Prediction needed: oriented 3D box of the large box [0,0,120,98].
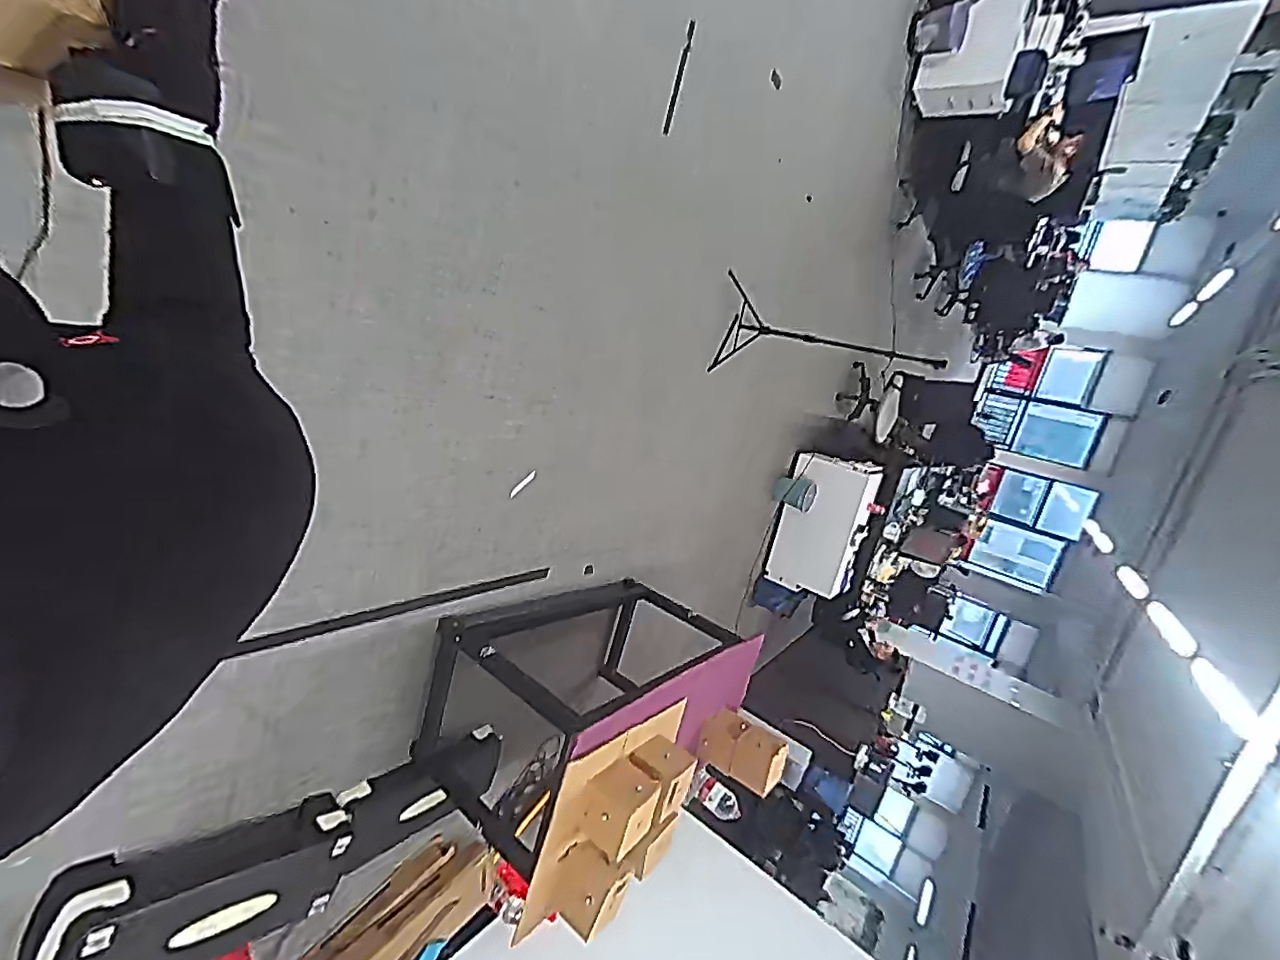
[{"bbox_3d":[-0.568,-0.415,0.231,0.408,0.320,0.320,-21,126,-55],"label":"large box"}]
